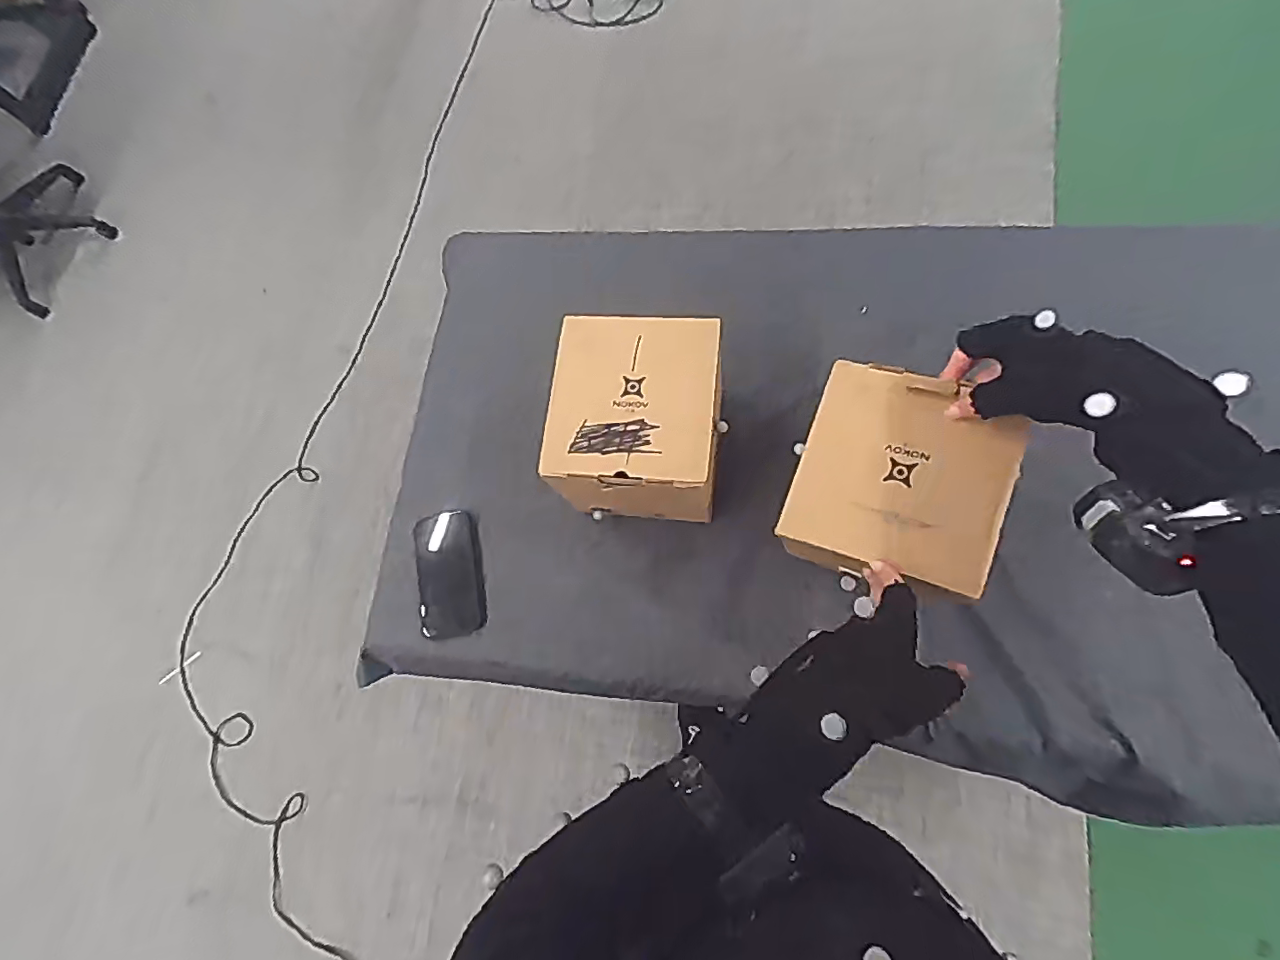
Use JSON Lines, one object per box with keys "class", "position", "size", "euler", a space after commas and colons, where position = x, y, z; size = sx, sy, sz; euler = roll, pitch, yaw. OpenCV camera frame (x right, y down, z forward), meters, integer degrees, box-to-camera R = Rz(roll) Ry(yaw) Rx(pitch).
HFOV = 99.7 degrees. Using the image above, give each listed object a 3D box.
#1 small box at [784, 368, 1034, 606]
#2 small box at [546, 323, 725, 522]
{"class": "small box", "position": [0.255, 0.015, 0.543], "size": [0.168, 0.176, 0.179], "euler": [17, 82, 23]}
{"class": "small box", "position": [0.008, -0.056, 0.614], "size": [0.168, 0.176, 0.179], "euler": [4, 74, 10]}
